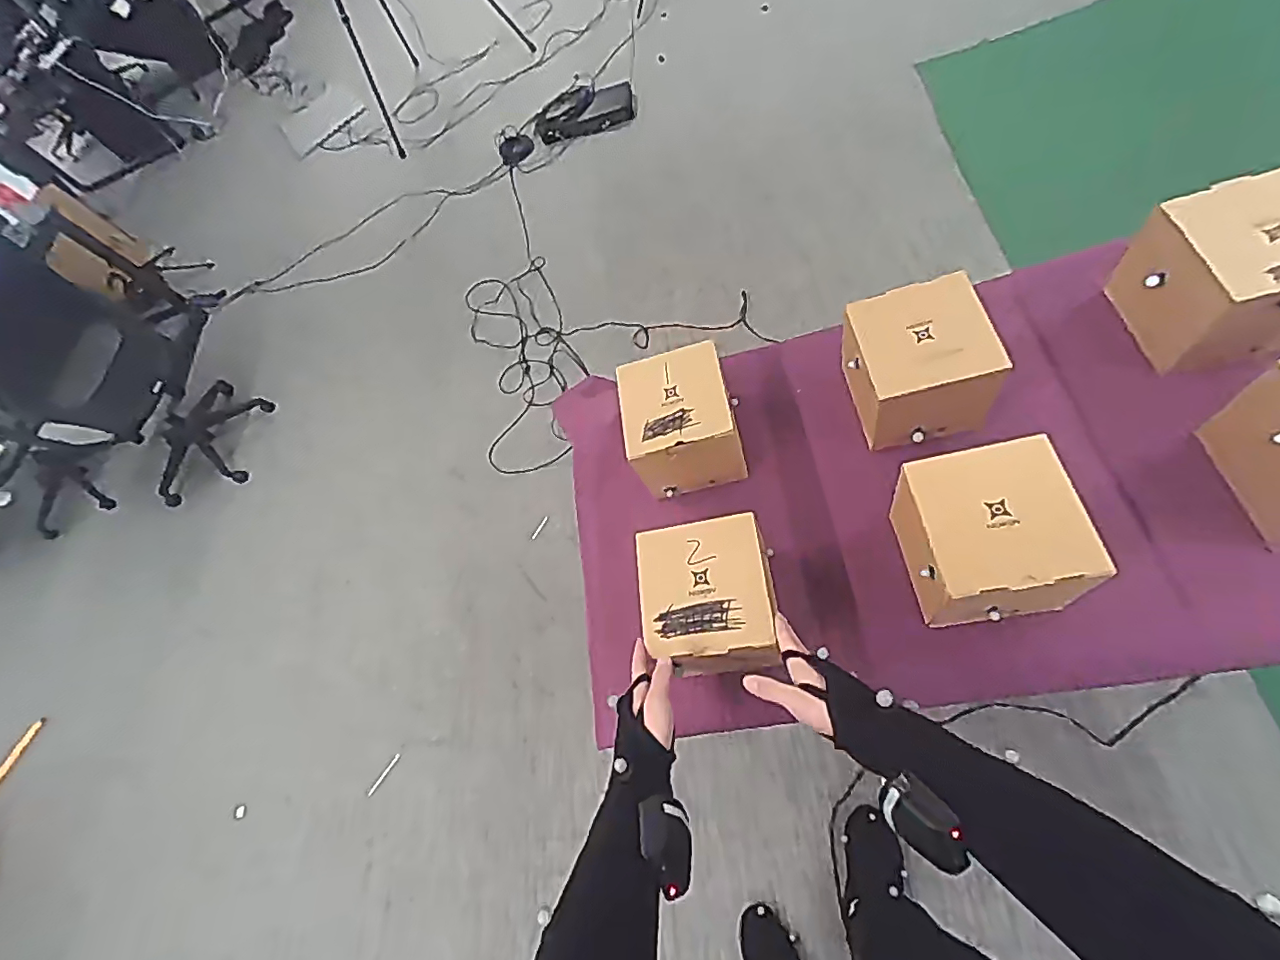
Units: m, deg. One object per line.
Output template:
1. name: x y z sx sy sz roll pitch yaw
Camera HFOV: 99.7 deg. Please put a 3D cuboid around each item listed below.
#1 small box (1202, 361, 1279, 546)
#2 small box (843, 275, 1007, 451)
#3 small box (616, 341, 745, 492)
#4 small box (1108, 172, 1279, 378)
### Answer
1. small box: 0.812 -0.037 0.610 0.168 0.176 0.179 -12 61 15
2. small box: 0.411 -0.168 0.817 0.168 0.176 0.179 -13 63 14
3. small box: 0.071 -0.092 0.897 0.168 0.176 0.179 -14 62 12
4. small box: 0.791 -0.270 0.729 0.168 0.176 0.179 -14 63 13
